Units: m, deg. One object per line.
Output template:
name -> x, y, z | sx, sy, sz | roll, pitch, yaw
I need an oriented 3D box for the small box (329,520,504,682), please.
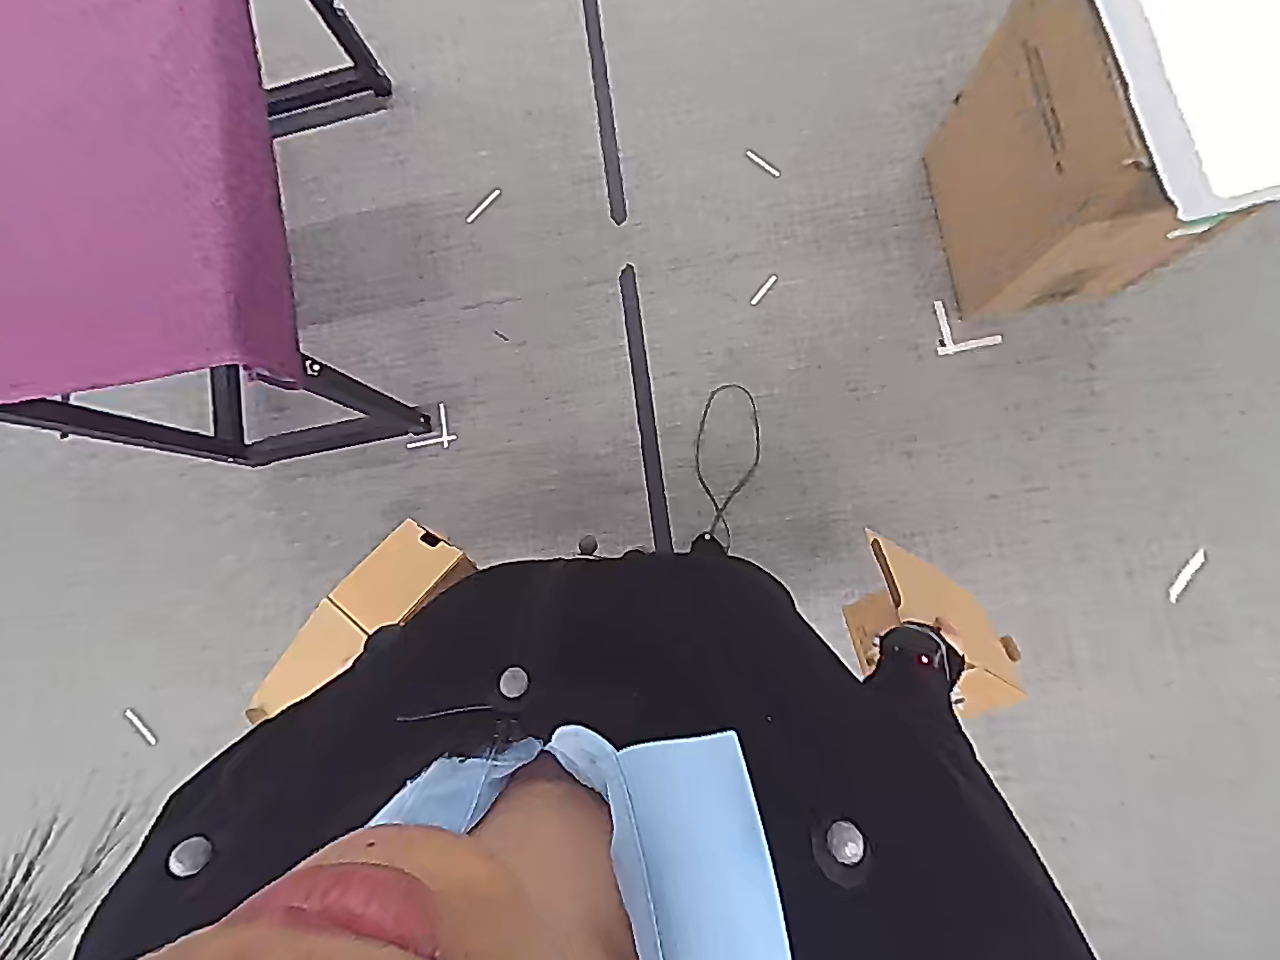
small box -> -0.362, 0.204, 0.904 | 0.168, 0.176, 0.179 | 22, 59, 34
